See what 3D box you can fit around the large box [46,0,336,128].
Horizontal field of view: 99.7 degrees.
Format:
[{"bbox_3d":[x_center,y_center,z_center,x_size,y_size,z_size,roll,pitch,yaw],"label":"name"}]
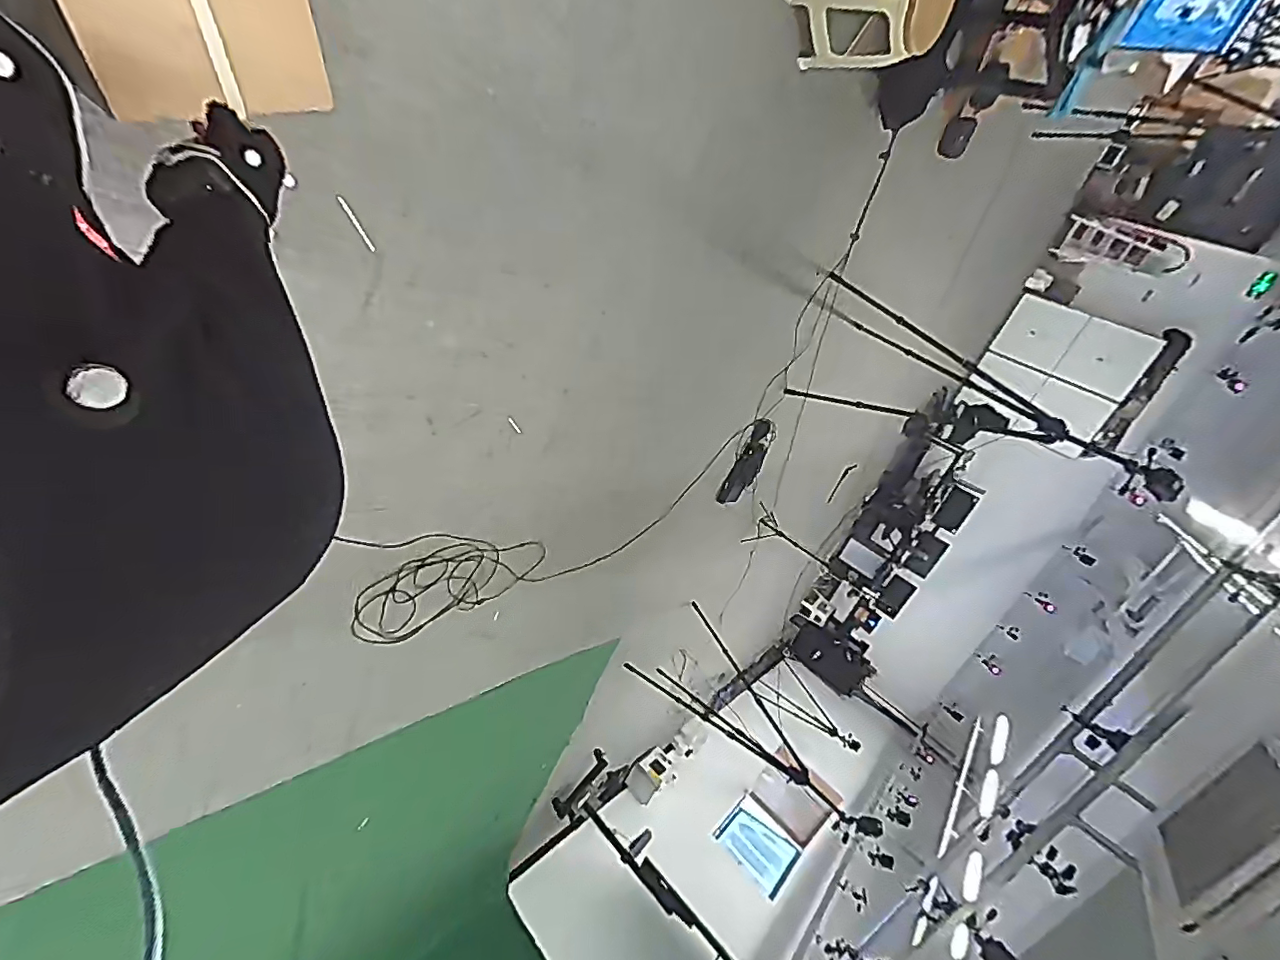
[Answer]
[{"bbox_3d":[-0.740,-0.809,0.826,0.320,0.320,0.408,-32,143,-34],"label":"large box"}]
